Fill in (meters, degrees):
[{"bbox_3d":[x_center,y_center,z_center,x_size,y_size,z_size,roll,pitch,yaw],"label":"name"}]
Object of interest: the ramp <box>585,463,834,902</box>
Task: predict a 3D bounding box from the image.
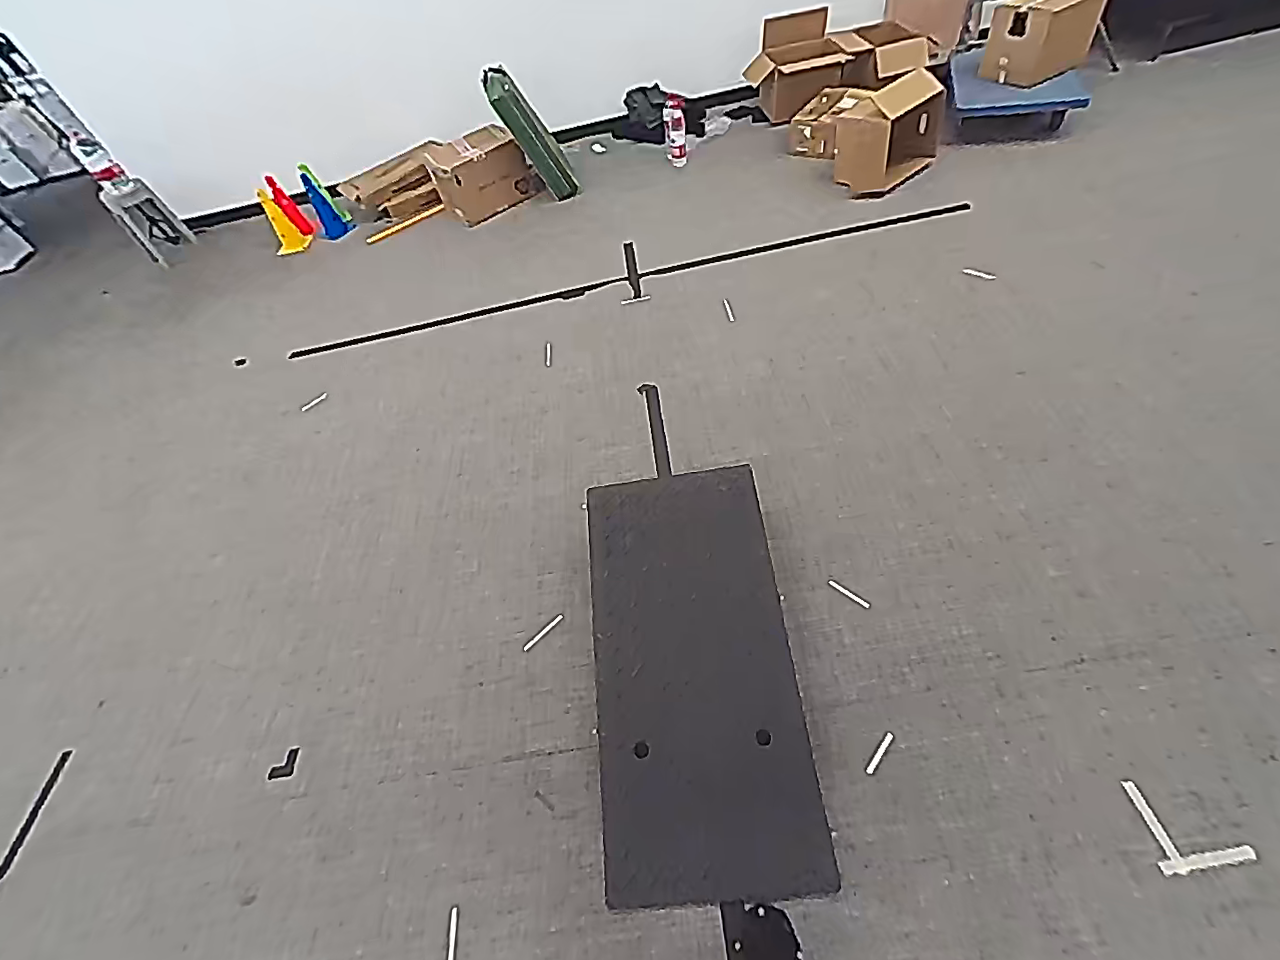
[{"bbox_3d":[0.122,0.425,1.361,0.509,0.206,0.991,-9,52,3],"label":"ramp"}]
